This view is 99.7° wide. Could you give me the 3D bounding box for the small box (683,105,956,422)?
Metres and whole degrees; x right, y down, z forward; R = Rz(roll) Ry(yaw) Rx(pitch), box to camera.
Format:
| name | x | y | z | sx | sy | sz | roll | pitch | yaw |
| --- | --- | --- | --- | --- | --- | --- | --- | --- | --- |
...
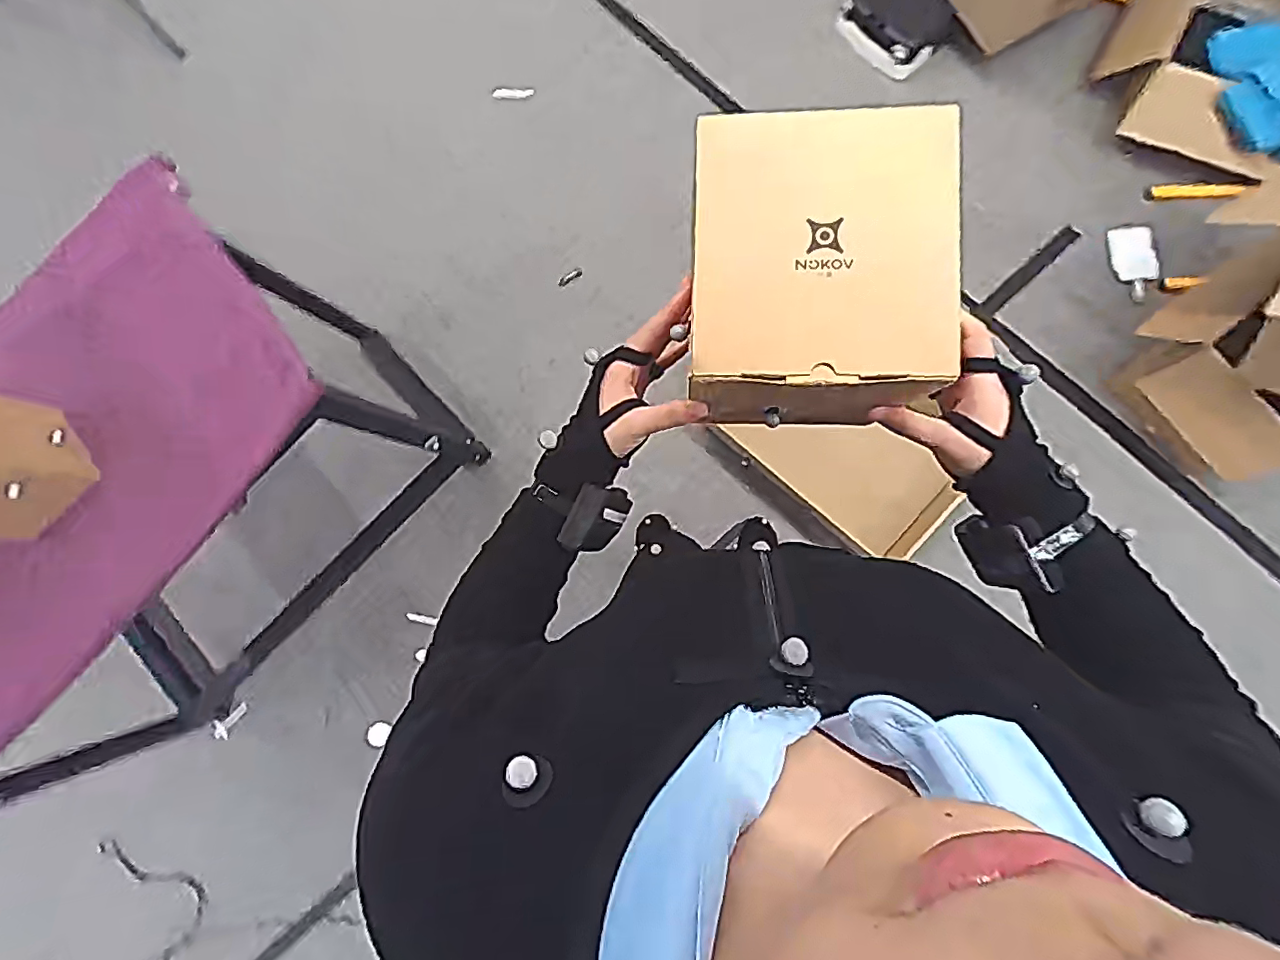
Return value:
| name | x | y | z | sx | sy | sz | roll | pitch | yaw |
| --- | --- | --- | --- | --- | --- | --- | --- | --- | --- |
| small box | 0.118 | -0.146 | 0.419 | 0.168 | 0.176 | 0.179 | 0 | 87 | 5 |
